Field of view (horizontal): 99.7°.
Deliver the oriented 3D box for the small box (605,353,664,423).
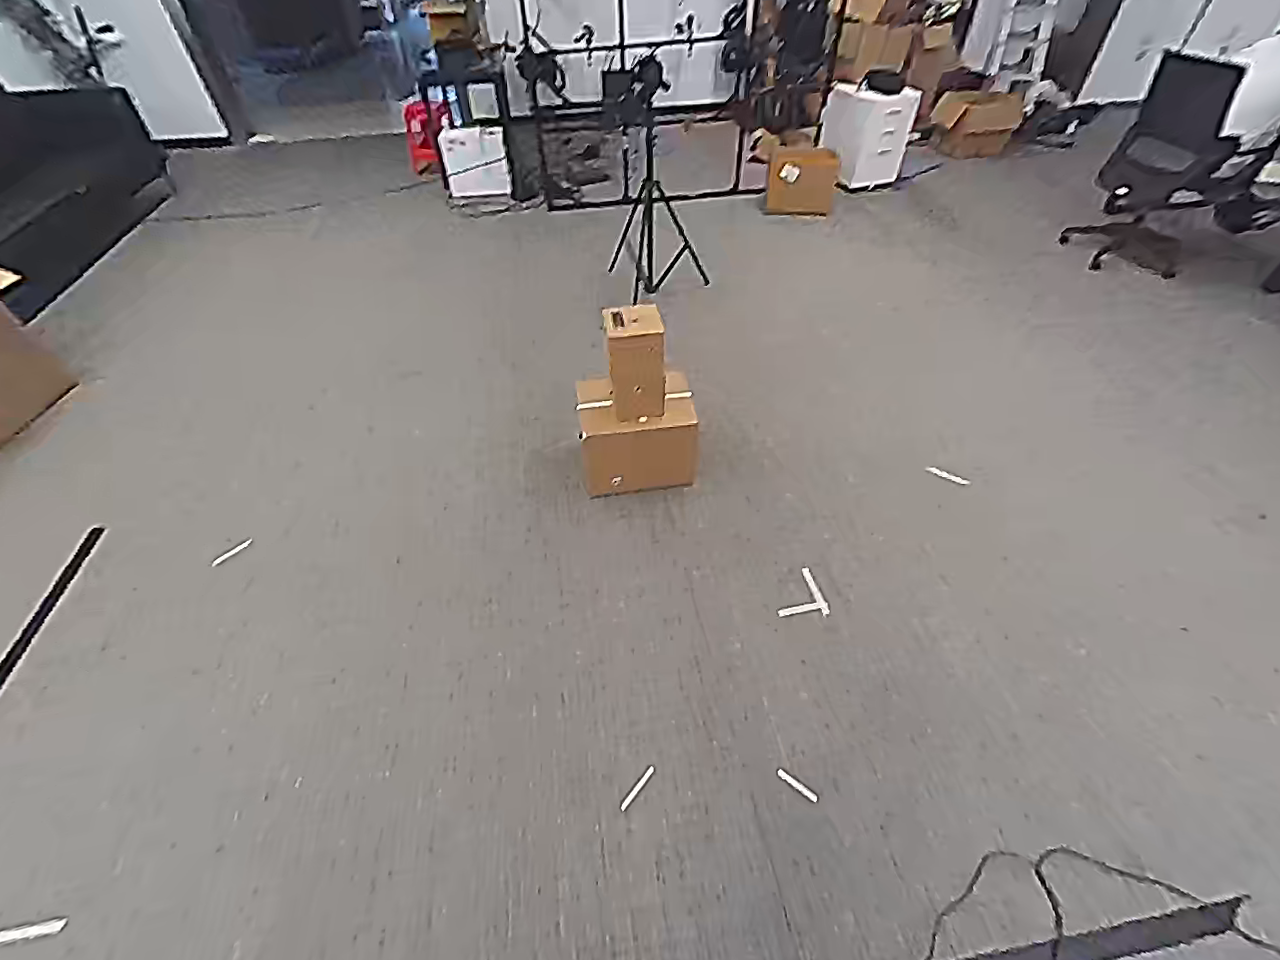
[{"bbox_3d":[-0.019,-0.311,1.849,0.179,0.176,0.168,-8,48,-8],"label":"small box"}]
